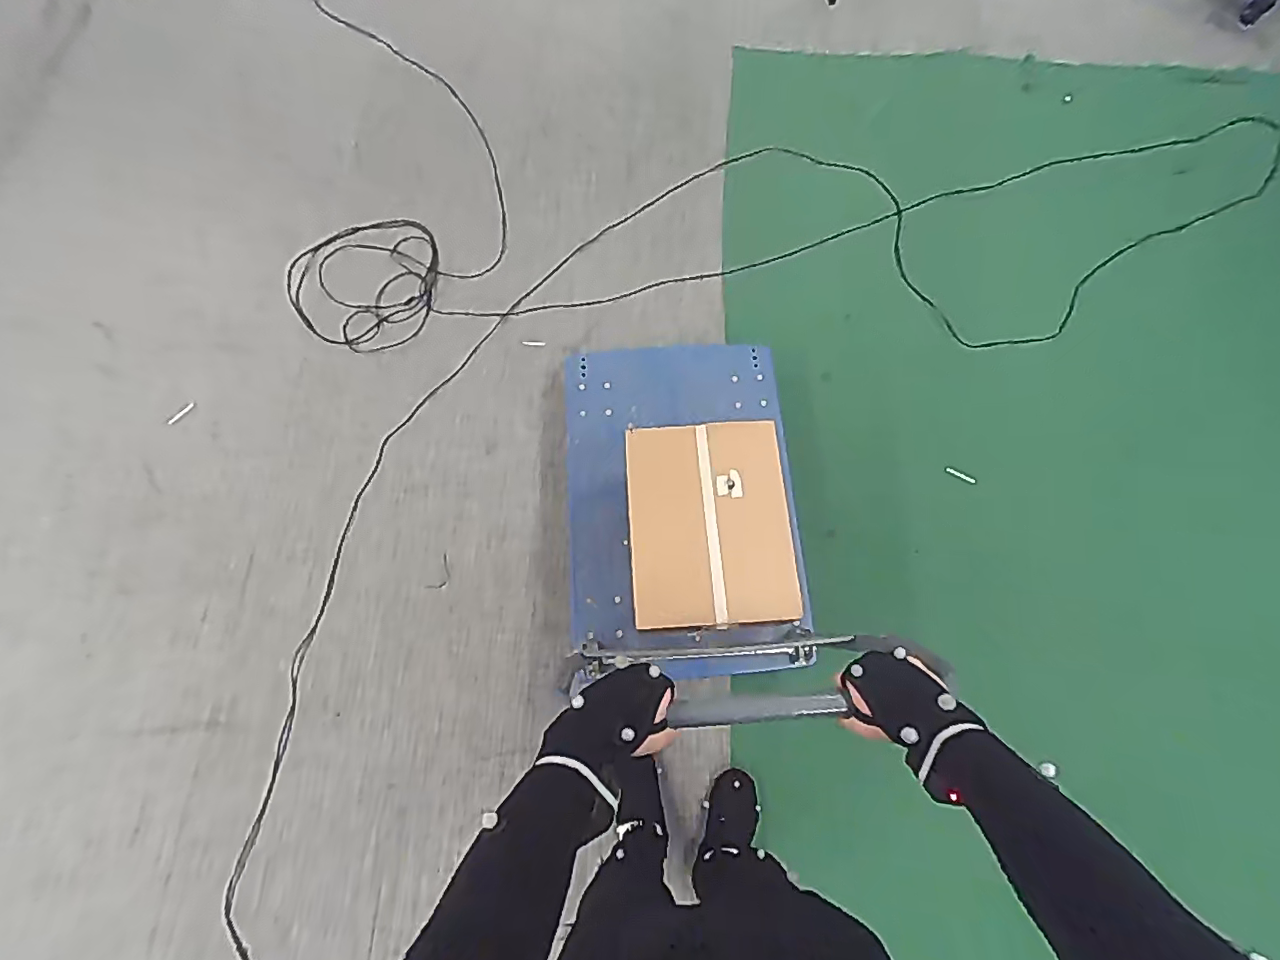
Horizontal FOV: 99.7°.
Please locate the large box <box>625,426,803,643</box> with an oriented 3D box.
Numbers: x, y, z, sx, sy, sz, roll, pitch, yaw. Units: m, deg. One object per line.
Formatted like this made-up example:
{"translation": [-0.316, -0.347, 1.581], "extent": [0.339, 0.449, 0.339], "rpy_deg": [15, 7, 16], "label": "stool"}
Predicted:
{"translation": [0.138, 0.135, 1.201], "extent": [0.320, 0.320, 0.408], "rpy_deg": [-3, 70, -2], "label": "large box"}
